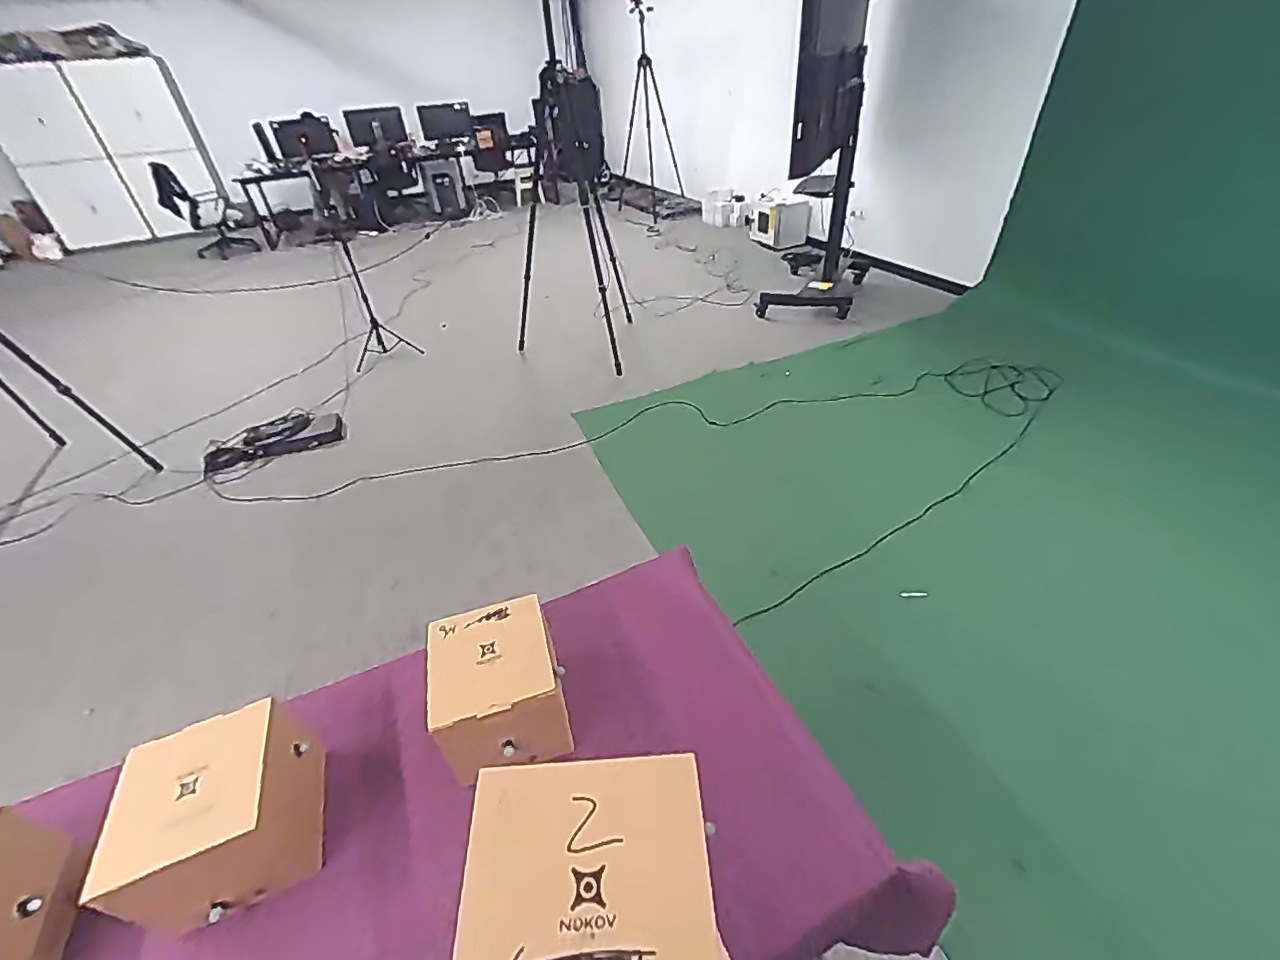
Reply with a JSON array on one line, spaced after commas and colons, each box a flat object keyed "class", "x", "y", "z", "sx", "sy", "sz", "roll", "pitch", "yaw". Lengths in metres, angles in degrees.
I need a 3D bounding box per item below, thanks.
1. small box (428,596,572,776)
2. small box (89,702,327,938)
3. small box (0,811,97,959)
[{"class": "small box", "x": -0.205, "y": 0.310, "z": 0.803, "sx": 0.168, "sy": 0.176, "sz": 0.179, "roll": -14, "pitch": 39, "yaw": -11}, {"class": "small box", "x": -0.523, "y": 0.430, "z": 0.692, "sx": 0.168, "sy": 0.176, "sz": 0.179, "roll": -18, "pitch": 40, "yaw": -15}, {"class": "small box", "x": -0.782, "y": 0.520, "z": 0.605, "sx": 0.179, "sy": 0.176, "sz": 0.168, "roll": -18, "pitch": 39, "yaw": -16}]
